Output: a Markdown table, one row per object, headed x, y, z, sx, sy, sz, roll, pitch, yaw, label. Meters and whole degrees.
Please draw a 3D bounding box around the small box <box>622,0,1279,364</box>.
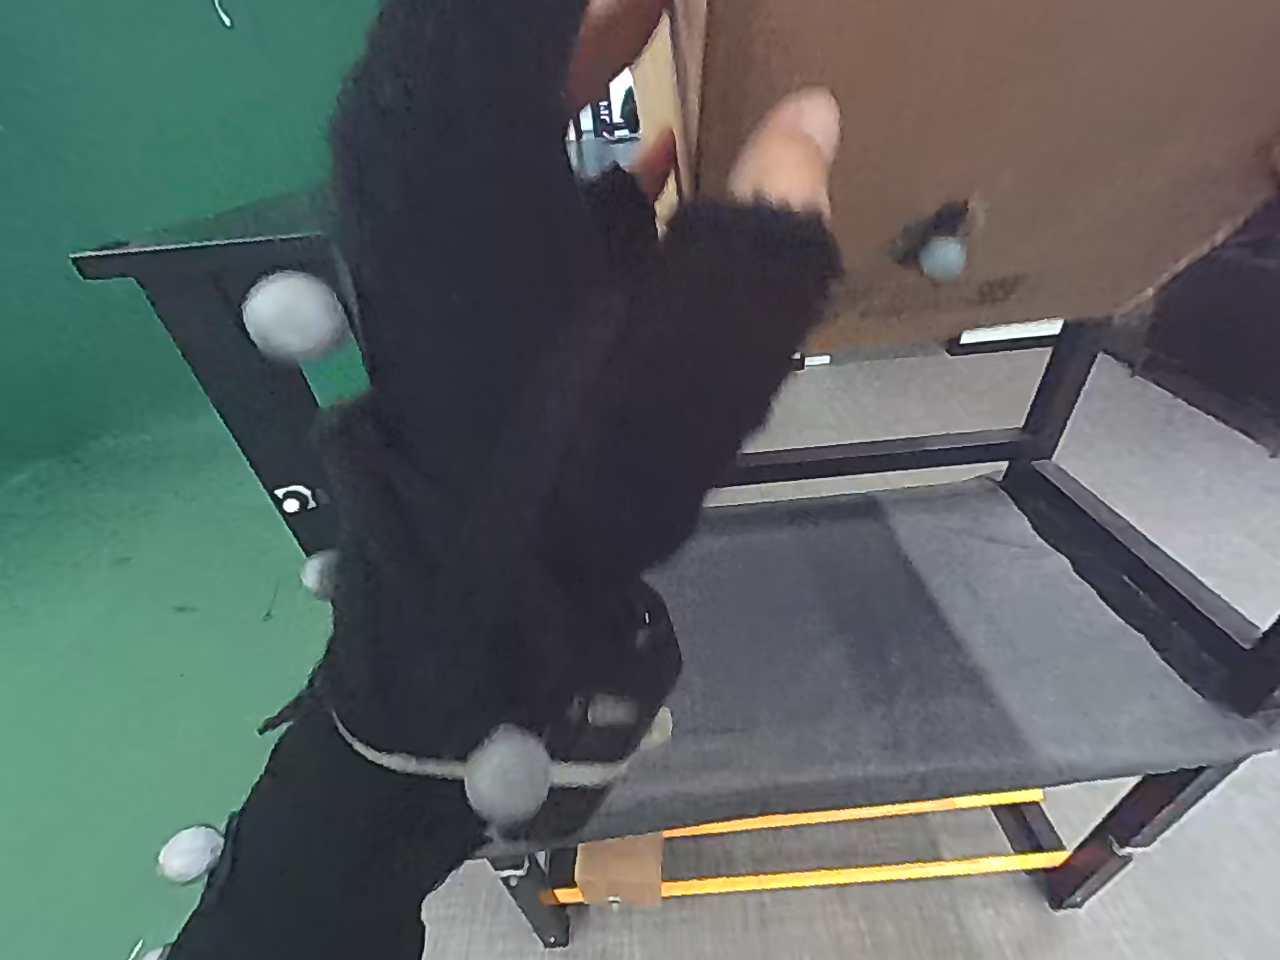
| x | y | z | sx | sy | sz | roll | pitch | yaw | label |
| --- | --- | --- | --- | --- | --- | --- | --- | --- | --- |
| 0.081 | -0.159 | 0.160 | 0.168 | 0.176 | 0.179 | -8 | 73 | 0 | small box |
